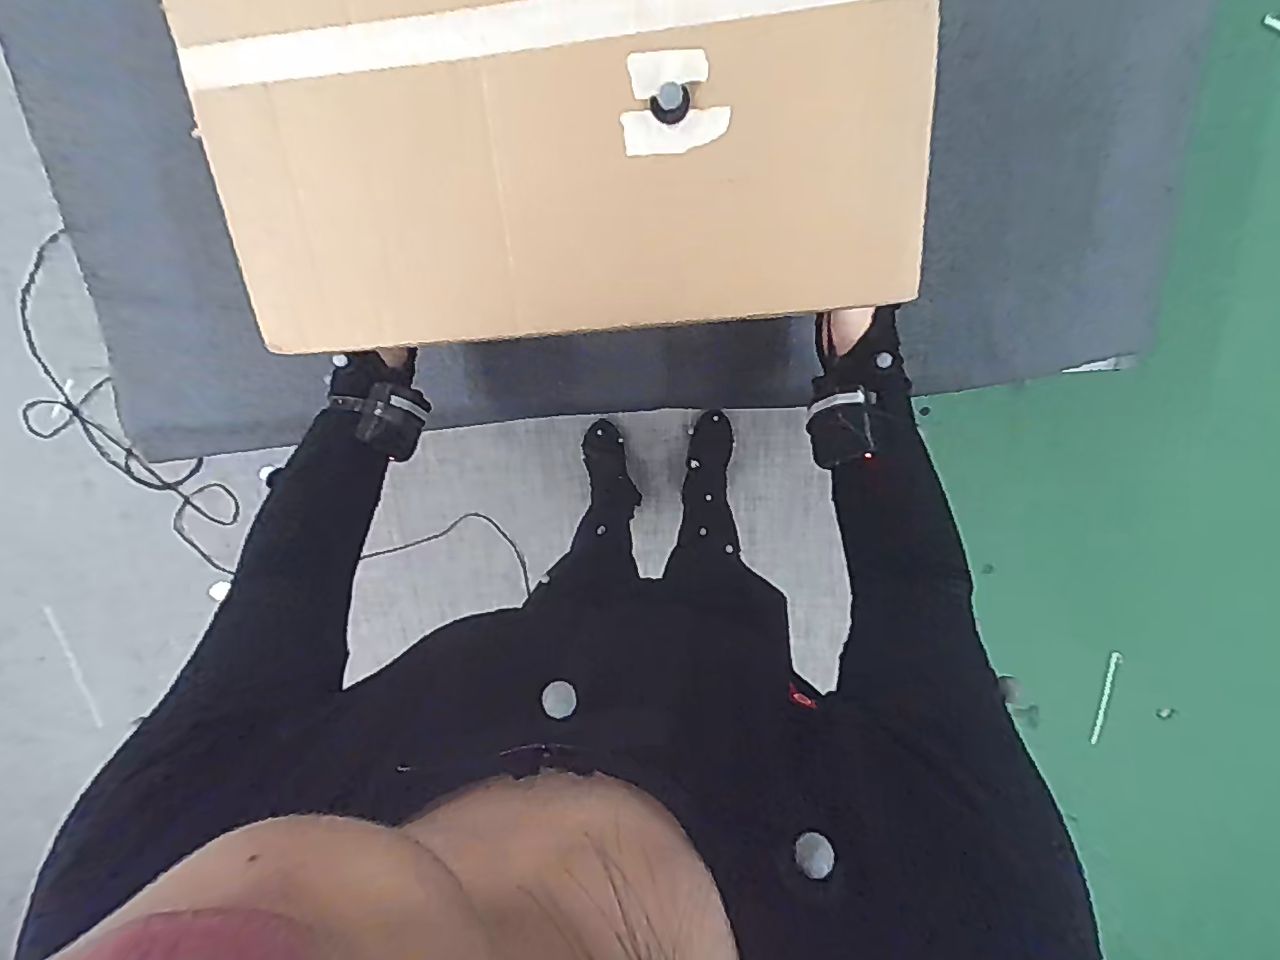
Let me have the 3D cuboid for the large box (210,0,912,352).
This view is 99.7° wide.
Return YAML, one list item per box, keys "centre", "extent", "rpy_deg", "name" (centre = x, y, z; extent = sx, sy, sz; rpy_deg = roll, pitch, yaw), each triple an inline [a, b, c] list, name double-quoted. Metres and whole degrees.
- centre: [-0.042, -0.289, 0.452]
  extent: [0.408, 0.320, 0.320]
  rpy_deg: [-4, 107, 4]
  name: "large box"
